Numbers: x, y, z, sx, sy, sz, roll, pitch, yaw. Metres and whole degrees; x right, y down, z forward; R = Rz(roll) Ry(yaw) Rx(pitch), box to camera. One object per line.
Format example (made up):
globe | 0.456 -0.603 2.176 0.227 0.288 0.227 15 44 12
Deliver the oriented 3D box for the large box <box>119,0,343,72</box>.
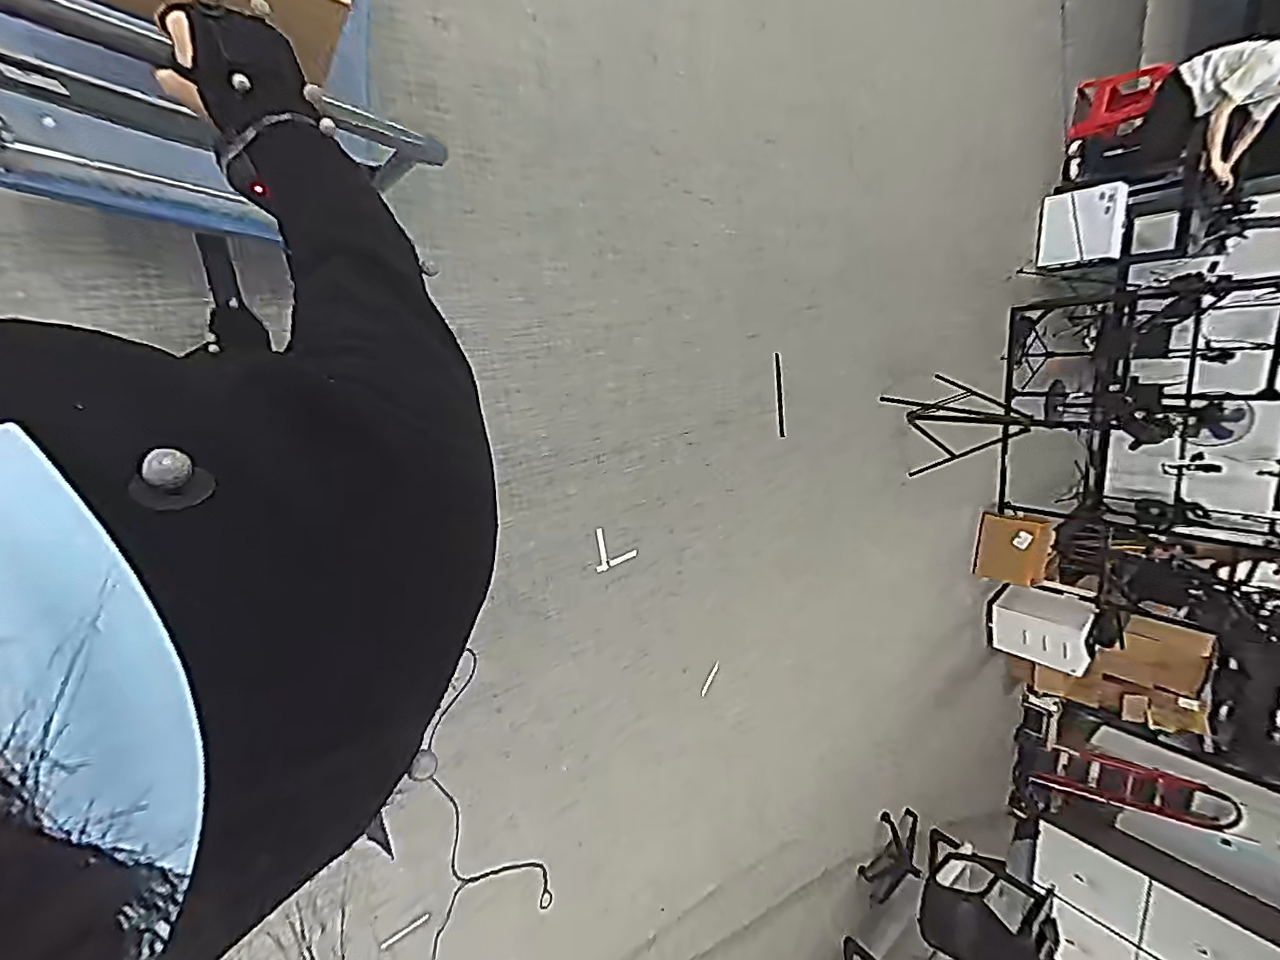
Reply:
large box | -0.695 -0.926 0.819 0.408 0.320 0.320 0 98 -37
